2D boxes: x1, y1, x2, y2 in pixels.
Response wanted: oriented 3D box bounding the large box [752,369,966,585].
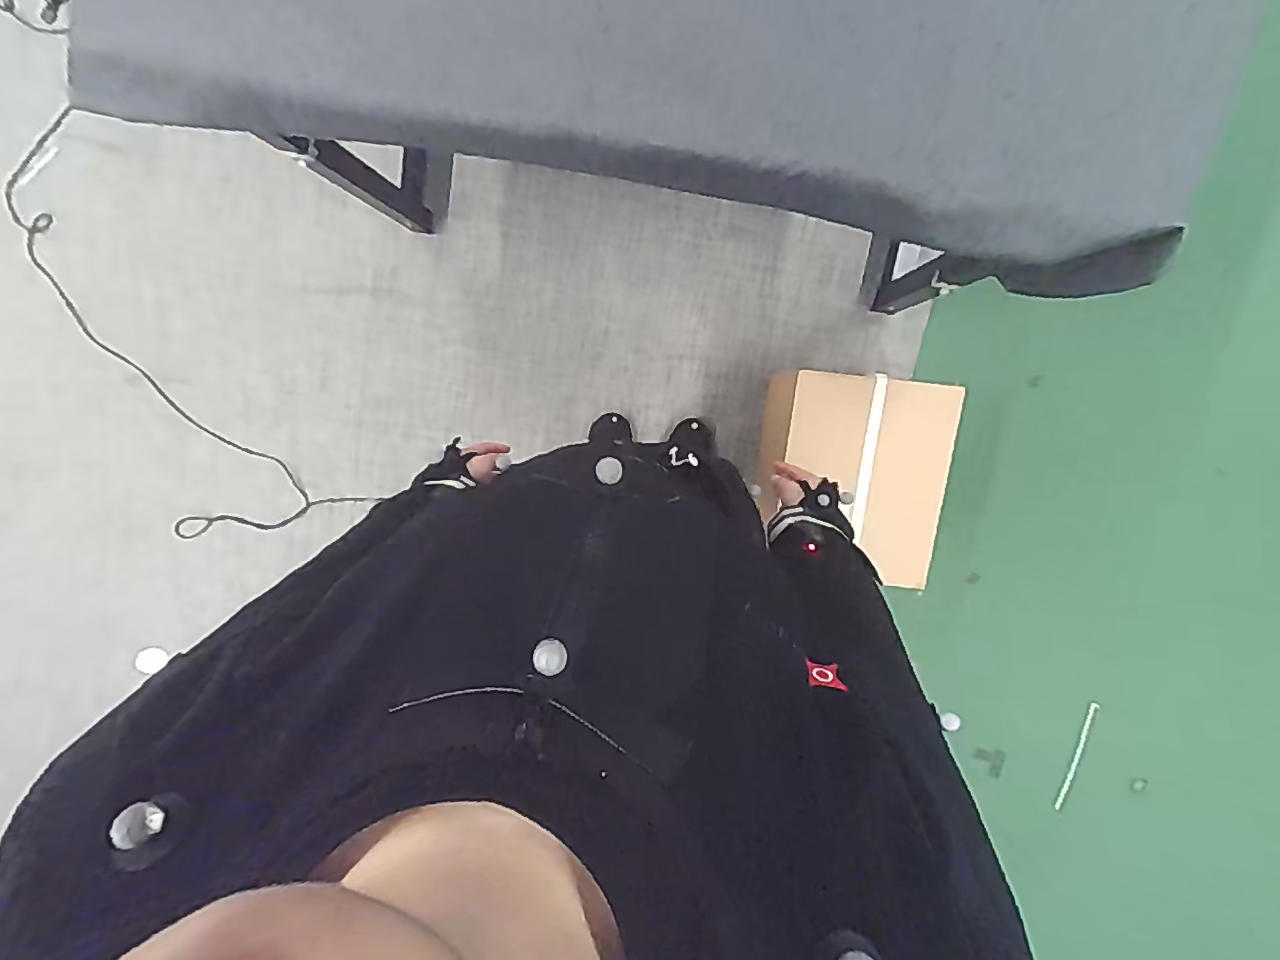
[{"bbox_3d":[0.444,-0.027,1.185,0.320,0.320,0.408,7,100,3],"label":"large box"}]
